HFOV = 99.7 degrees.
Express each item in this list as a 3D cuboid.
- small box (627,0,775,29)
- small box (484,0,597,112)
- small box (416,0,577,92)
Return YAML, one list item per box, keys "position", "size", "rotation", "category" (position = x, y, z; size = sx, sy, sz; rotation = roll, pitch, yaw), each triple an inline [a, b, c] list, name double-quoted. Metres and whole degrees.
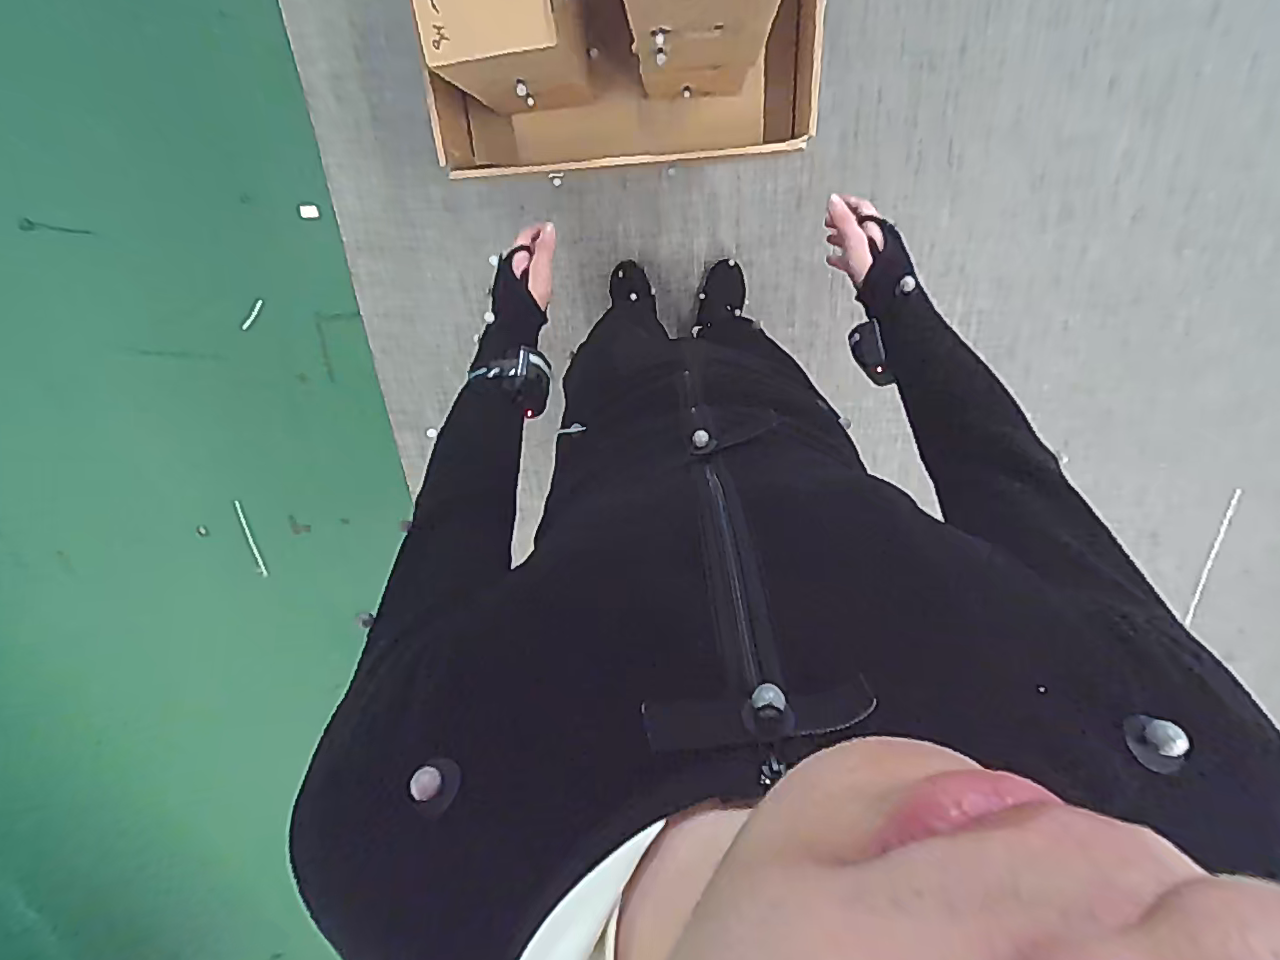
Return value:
- position: [0.063, -0.584, 0.539]
  size: [0.168, 0.176, 0.179]
  rotation: [-1, 113, 5]
  category: "small box"
- position: [-0.173, -0.708, 0.866]
  size: [0.179, 0.176, 0.168]
  rotation: [-3, 114, 5]
  category: "small box"
- position: [-0.185, -0.641, 0.717]
  size: [0.179, 0.176, 0.168]
  rotation: [-4, 114, 6]
  category: "small box"
